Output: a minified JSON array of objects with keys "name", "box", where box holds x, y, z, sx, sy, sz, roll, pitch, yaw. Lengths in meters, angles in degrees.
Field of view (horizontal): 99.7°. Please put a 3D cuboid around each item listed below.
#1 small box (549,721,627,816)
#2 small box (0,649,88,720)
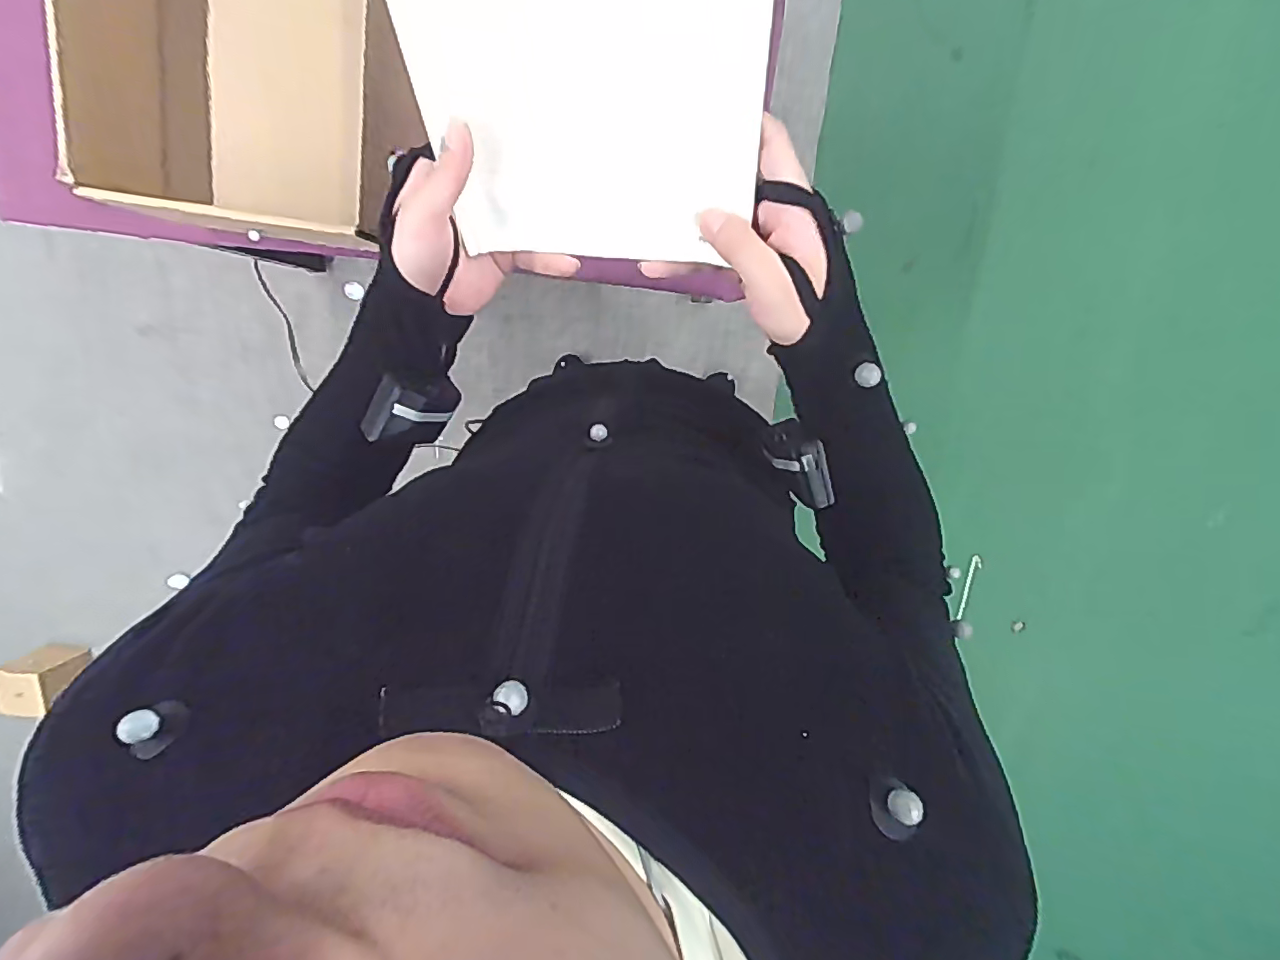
[{"name":"small box","box":[-0.161,0.931,1.759,0.179,0.176,0.168,42,102,-3]},{"name":"small box","box":[-2.070,0.700,1.868,0.179,0.176,0.168,4,102,4]}]
